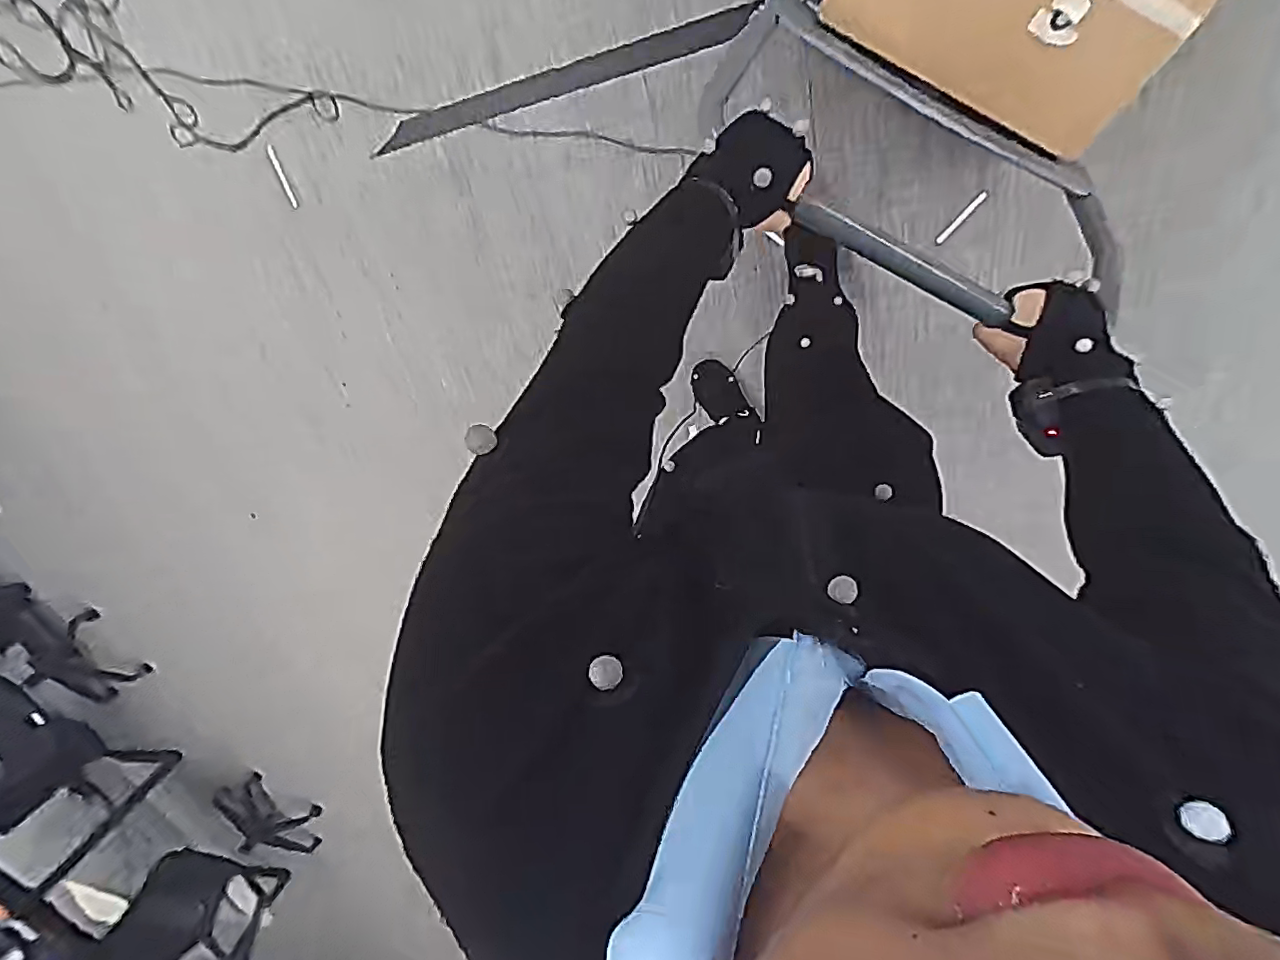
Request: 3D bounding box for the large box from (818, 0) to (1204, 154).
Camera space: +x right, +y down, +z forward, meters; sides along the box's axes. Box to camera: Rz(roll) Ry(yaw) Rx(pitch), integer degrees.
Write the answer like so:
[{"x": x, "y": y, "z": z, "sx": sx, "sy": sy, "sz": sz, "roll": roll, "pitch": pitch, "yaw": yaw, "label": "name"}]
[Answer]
[{"x": 0.506, "y": -0.727, "z": 0.730, "sx": 0.408, "sy": 0.320, "sz": 0.320, "roll": 26, "pitch": 139, "yaw": -4, "label": "large box"}]
